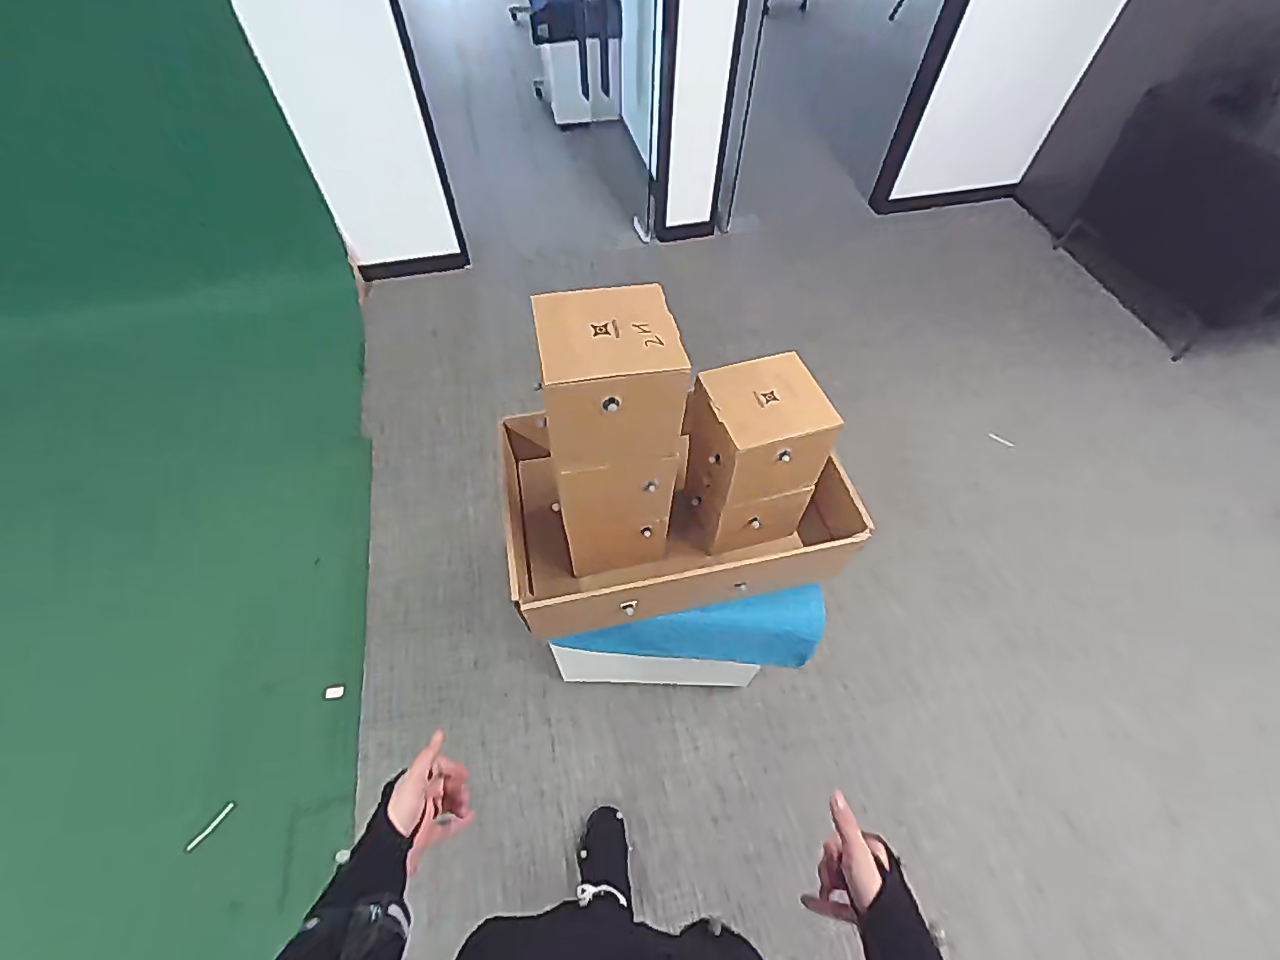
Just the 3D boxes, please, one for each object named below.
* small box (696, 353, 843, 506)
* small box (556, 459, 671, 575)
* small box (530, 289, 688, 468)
[{"bbox_3d":[0.198,-0.078,0.891,0.179,0.176,0.168,-15,57,-9],"label":"small box"},{"bbox_3d":[-0.050,0.059,1.000,0.179,0.176,0.168,-10,56,-9],"label":"small box"},{"bbox_3d":[-0.044,-0.132,0.731,0.179,0.176,0.168,-8,56,-9],"label":"small box"}]
